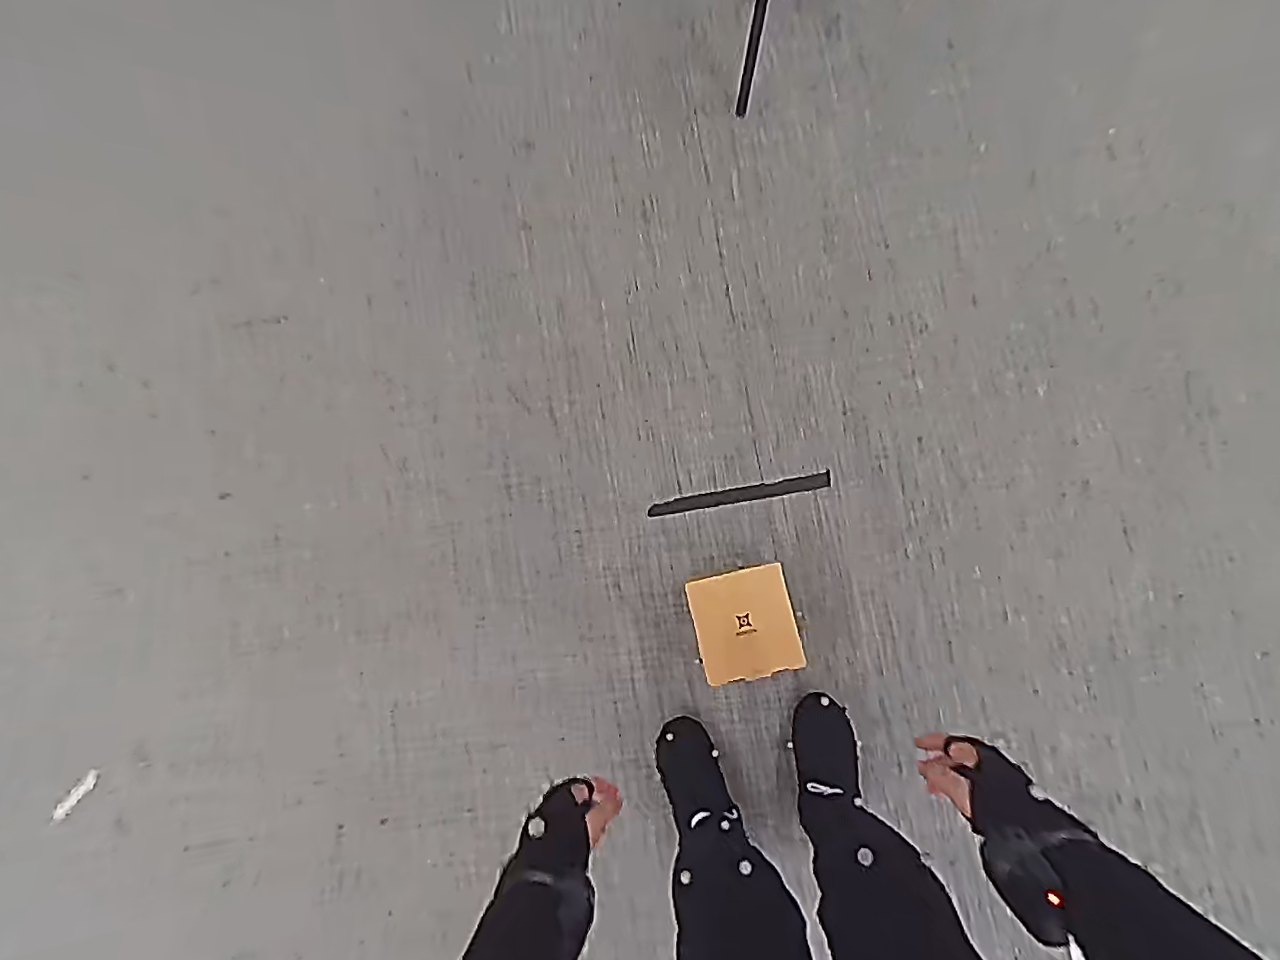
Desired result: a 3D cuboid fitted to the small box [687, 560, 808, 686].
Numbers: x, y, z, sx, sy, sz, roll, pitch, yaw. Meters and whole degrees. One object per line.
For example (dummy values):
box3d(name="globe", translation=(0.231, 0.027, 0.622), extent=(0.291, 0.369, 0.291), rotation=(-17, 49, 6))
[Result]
box3d(name="small box", translation=(0.180, 0.244, 0.961), extent=(0.168, 0.176, 0.179), rotation=(-14, 83, 4))
